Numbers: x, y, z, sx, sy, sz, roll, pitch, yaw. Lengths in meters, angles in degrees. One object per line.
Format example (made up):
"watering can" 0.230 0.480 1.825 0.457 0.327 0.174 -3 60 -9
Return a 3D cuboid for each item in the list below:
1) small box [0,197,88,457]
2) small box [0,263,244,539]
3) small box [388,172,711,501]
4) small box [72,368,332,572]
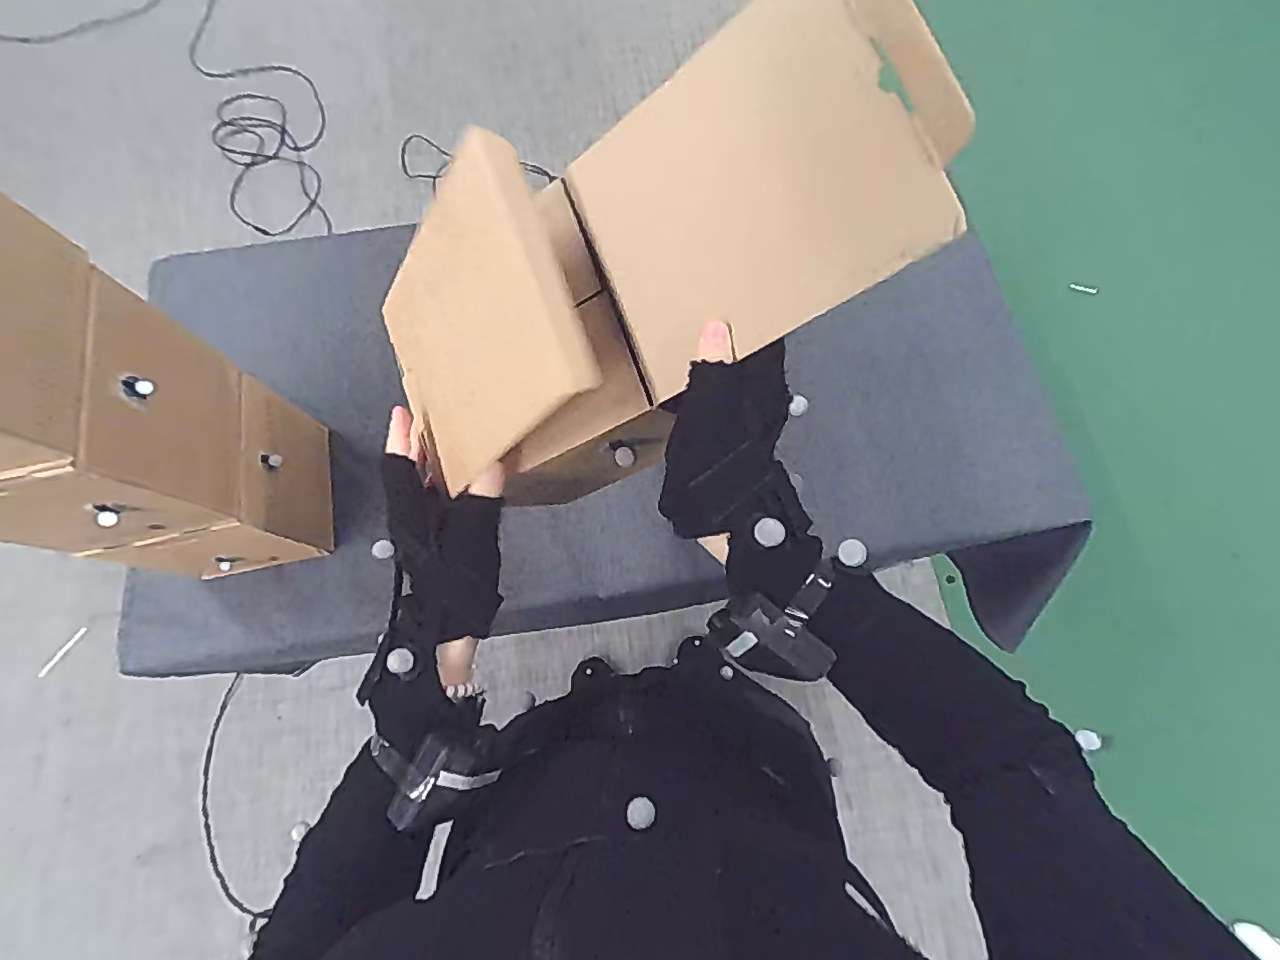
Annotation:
"small box" -0.489 -0.107 0.318 0.168 0.176 0.179 -12 73 -4
"small box" -0.486 -0.052 0.473 0.168 0.176 0.179 -11 73 -3
"small box" -0.056 -0.090 0.432 0.179 0.176 0.168 -23 80 22
"small box" -0.485 -0.002 0.628 0.168 0.176 0.179 -11 73 -3
